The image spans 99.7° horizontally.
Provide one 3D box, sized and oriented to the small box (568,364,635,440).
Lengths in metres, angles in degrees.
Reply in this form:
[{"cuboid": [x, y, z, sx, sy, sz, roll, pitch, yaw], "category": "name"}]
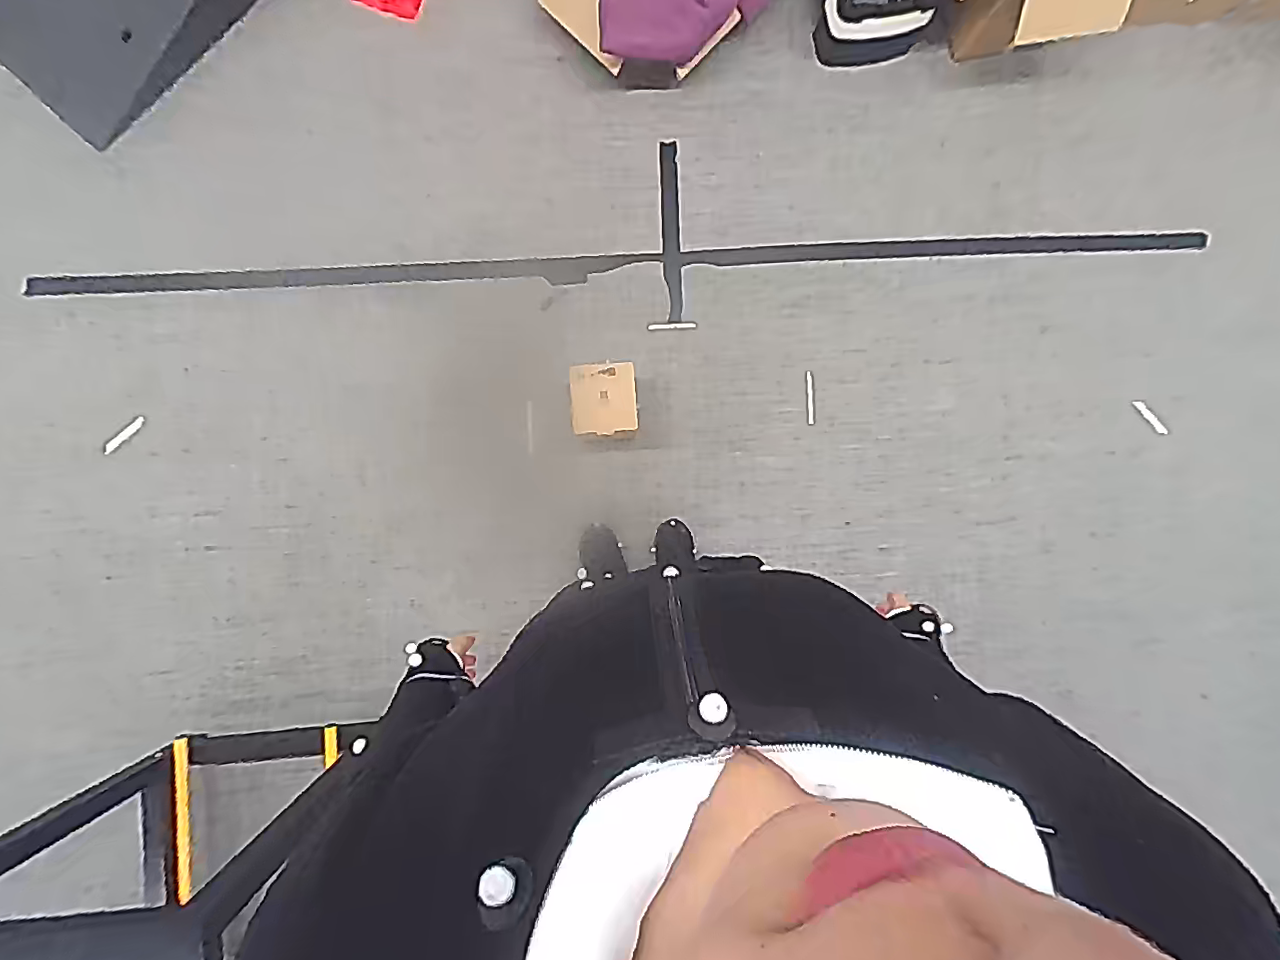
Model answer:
[{"cuboid": [-0.097, -0.200, 1.437, 0.168, 0.176, 0.179, -4, 89, -2], "category": "small box"}]
